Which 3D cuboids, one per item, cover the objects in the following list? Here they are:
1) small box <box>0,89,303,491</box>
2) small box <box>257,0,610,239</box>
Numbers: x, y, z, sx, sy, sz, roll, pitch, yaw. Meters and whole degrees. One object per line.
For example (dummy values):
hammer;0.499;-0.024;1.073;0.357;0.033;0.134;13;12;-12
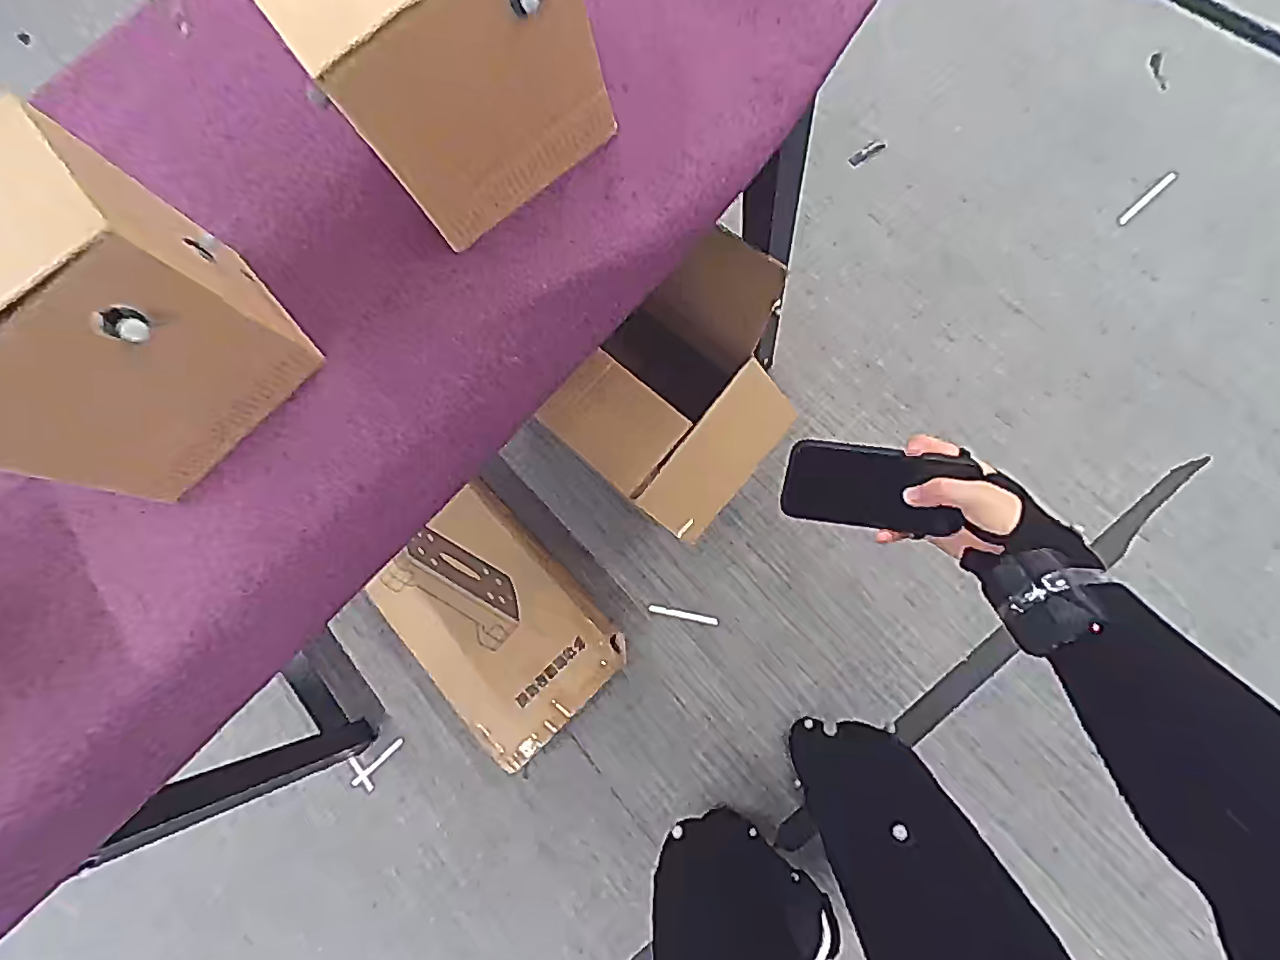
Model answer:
small box;-0.390;-0.118;0.394;0.179;0.176;0.168;-45;72;-2
small box;-0.146;-0.323;0.401;0.179;0.176;0.168;-38;75;0
